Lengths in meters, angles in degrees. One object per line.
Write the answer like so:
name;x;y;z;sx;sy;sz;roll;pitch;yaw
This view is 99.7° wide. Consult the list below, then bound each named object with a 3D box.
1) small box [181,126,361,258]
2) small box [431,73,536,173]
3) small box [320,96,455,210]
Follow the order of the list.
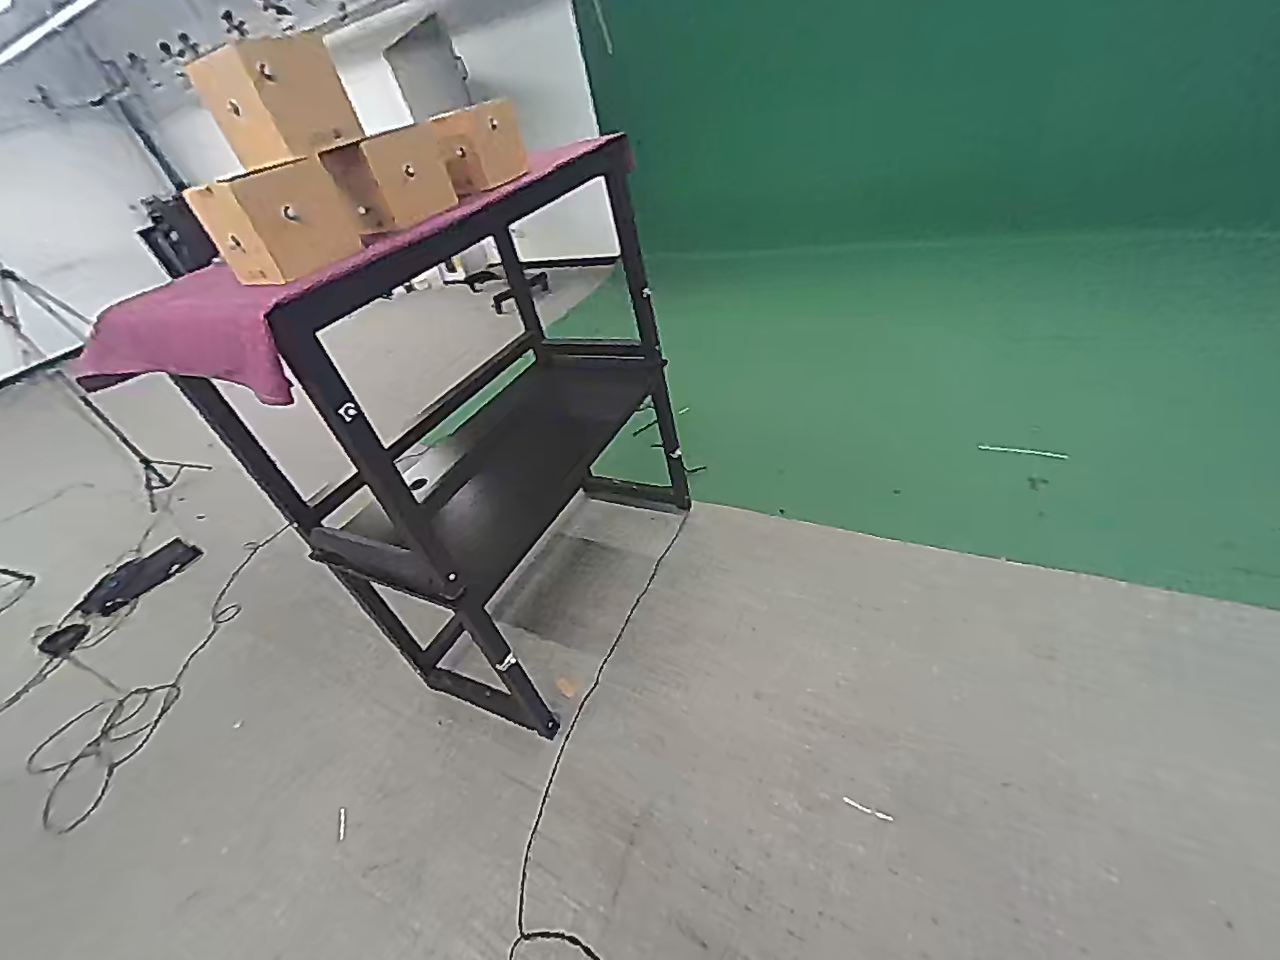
small box;-0.650;-0.511;0.970;0.168;0.176;0.179;14;46;30
small box;-0.380;-0.858;1.312;0.168;0.176;0.179;12;45;29
small box;-0.520;-0.687;1.144;0.168;0.176;0.179;15;48;32
